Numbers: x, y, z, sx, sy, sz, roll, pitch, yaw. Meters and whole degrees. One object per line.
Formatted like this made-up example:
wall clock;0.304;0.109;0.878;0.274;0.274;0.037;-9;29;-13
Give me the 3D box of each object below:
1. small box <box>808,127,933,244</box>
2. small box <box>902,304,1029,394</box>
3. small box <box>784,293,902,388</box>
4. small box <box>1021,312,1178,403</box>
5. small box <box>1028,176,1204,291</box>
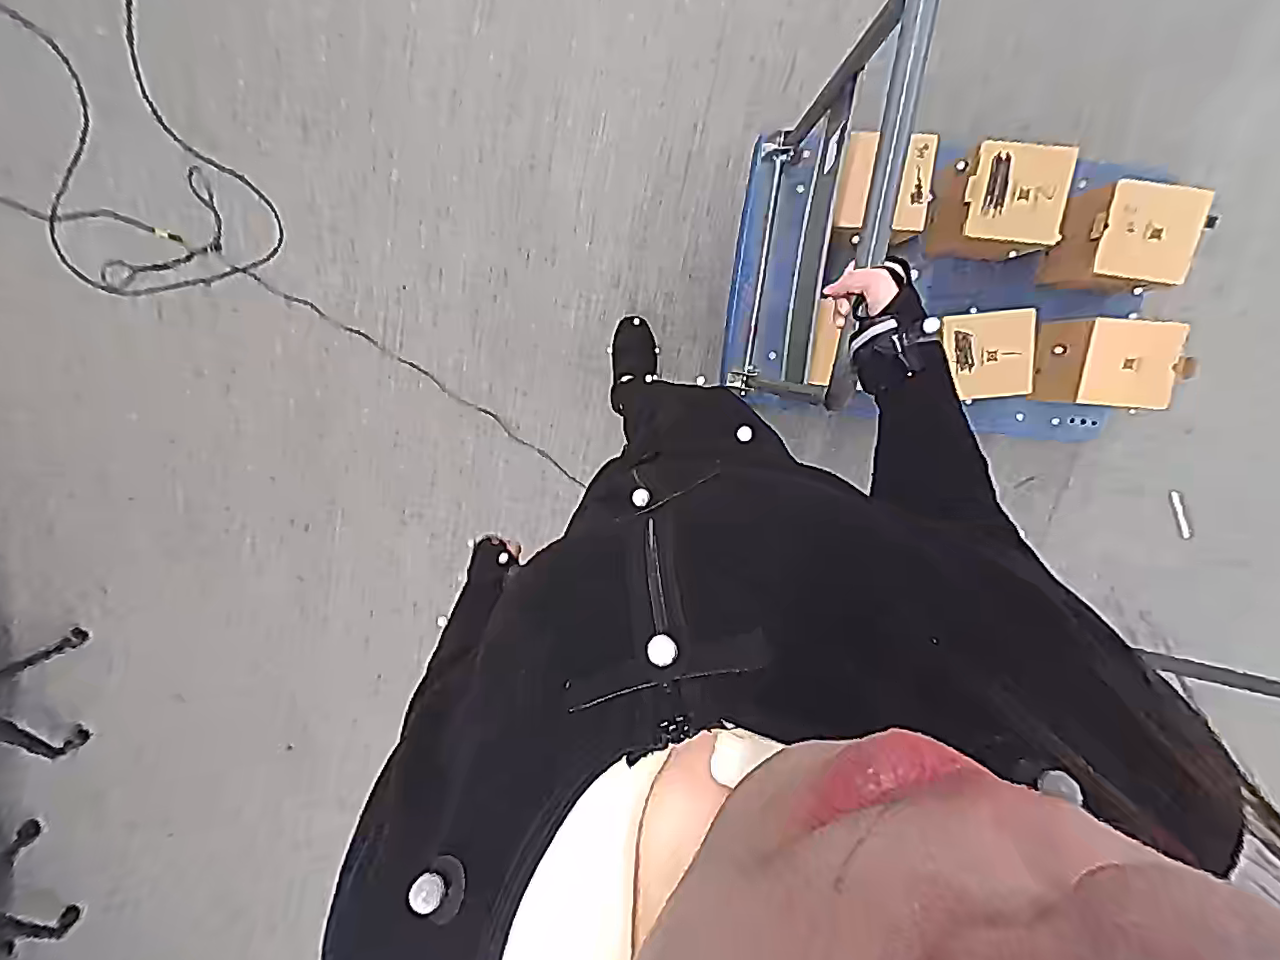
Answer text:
small box;0.448;-0.580;1.084;0.179;0.176;0.168;4;103;2
small box;0.675;-0.271;1.142;0.179;0.176;0.168;-5;102;2
small box;0.417;-0.291;1.148;0.179;0.176;0.168;8;103;0
small box;0.947;-0.253;1.135;0.179;0.176;0.168;4;102;1
small box;0.938;-0.482;1.084;0.179;0.176;0.168;9;102;1
